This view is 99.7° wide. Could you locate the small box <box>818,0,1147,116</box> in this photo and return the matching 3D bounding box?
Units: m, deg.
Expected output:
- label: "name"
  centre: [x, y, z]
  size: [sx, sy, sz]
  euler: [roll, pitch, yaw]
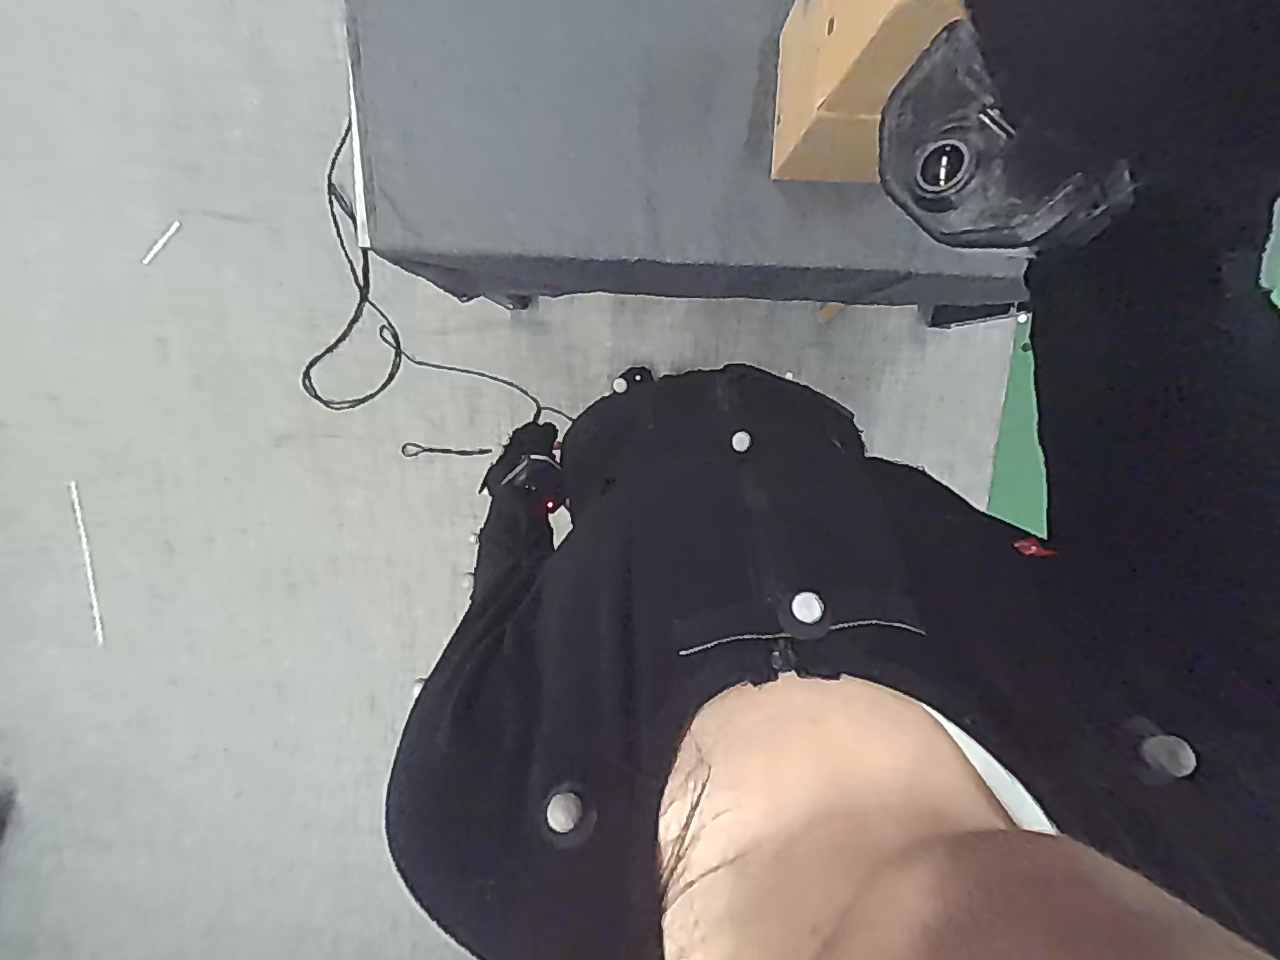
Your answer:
- label: "small box"
  centre: [0.262, -0.420, 0.432]
  size: [0.179, 0.176, 0.168]
  euler: [1, 100, -1]
